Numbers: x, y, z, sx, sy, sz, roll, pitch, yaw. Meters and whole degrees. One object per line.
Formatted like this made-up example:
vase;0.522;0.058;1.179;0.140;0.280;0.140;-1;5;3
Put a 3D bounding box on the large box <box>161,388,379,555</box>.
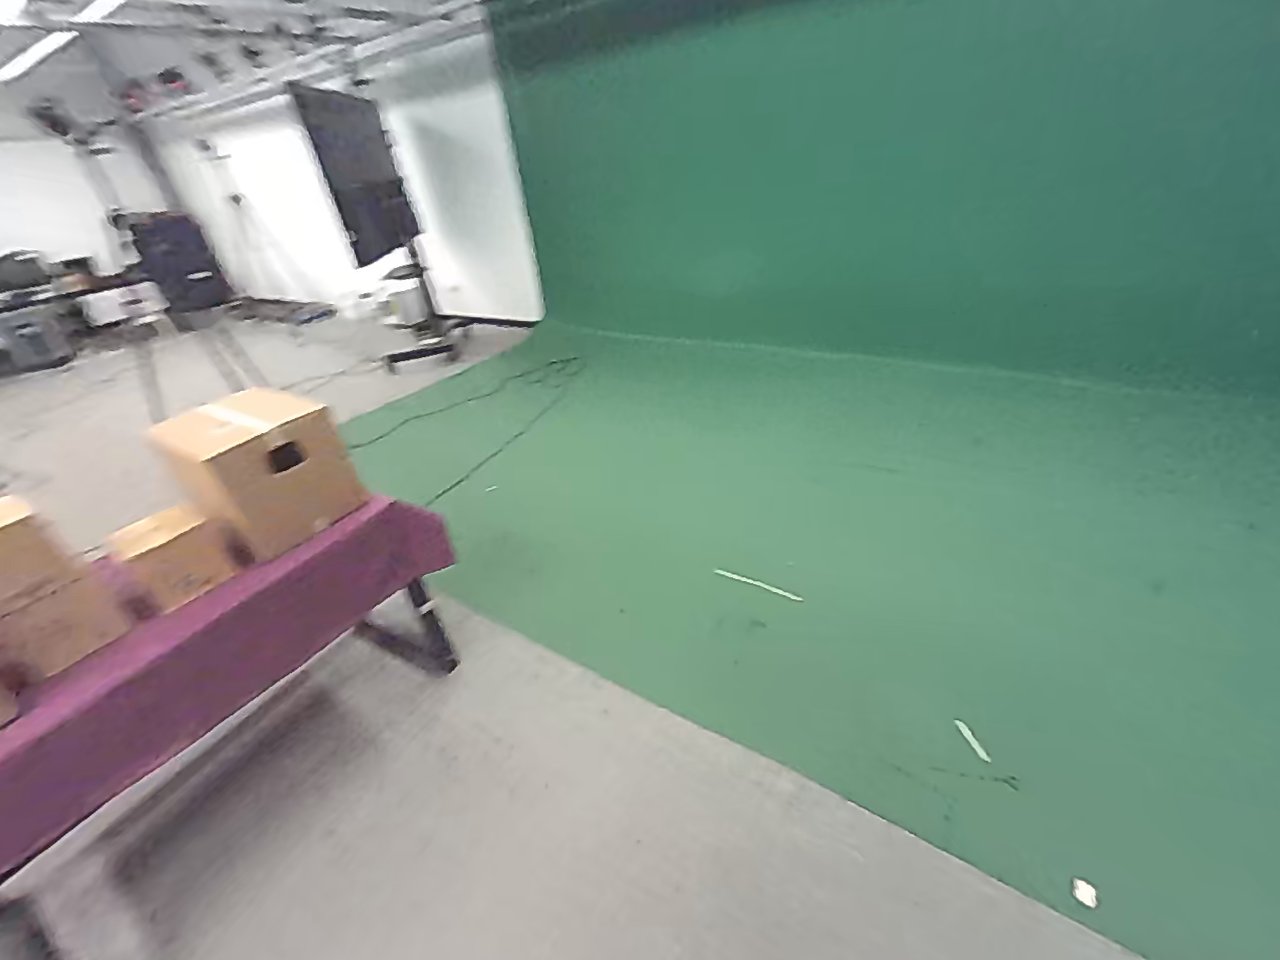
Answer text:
large box;-1.033;-0.040;1.535;0.408;0.320;0.320;16;39;31
